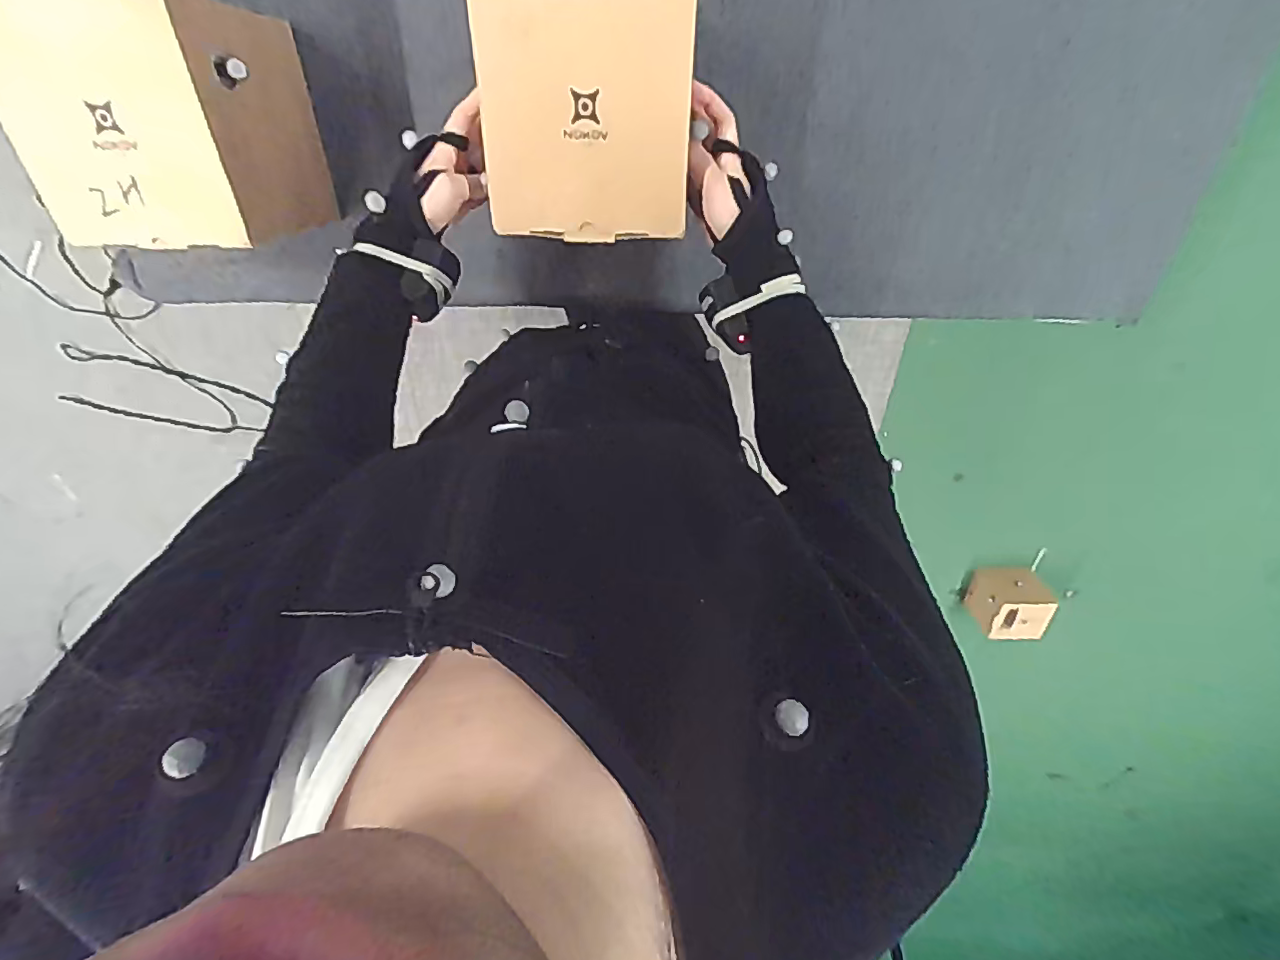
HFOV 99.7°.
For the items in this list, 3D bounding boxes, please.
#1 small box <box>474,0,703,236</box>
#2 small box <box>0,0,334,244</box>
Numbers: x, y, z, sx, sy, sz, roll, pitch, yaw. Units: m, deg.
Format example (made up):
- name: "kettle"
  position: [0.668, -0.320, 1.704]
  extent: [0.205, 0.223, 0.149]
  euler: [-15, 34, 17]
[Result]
- name: "small box"
  position: [-0.040, -0.326, 0.484]
  extent: [0.168, 0.176, 0.179]
  euler: [1, 122, -1]
- name: "small box"
  position: [-0.415, -0.322, 0.487]
  extent: [0.168, 0.176, 0.179]
  euler: [1, 123, 0]
